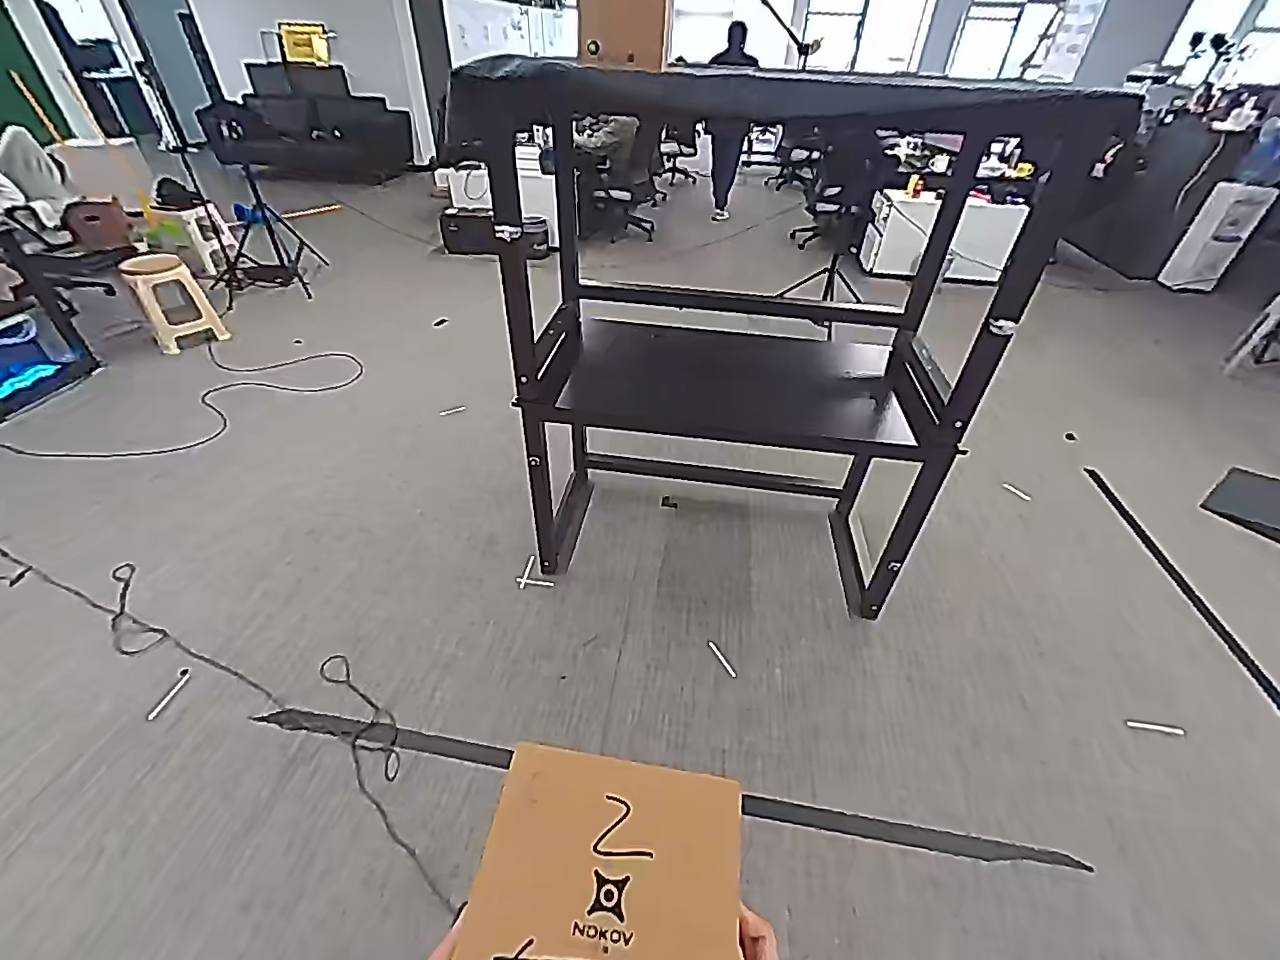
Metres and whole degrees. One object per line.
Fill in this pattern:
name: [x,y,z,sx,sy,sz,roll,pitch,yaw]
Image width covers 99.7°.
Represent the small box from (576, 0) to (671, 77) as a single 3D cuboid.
small box: [-0.028,-0.890,1.049,0.168,0.176,0.179,6,37,2]
